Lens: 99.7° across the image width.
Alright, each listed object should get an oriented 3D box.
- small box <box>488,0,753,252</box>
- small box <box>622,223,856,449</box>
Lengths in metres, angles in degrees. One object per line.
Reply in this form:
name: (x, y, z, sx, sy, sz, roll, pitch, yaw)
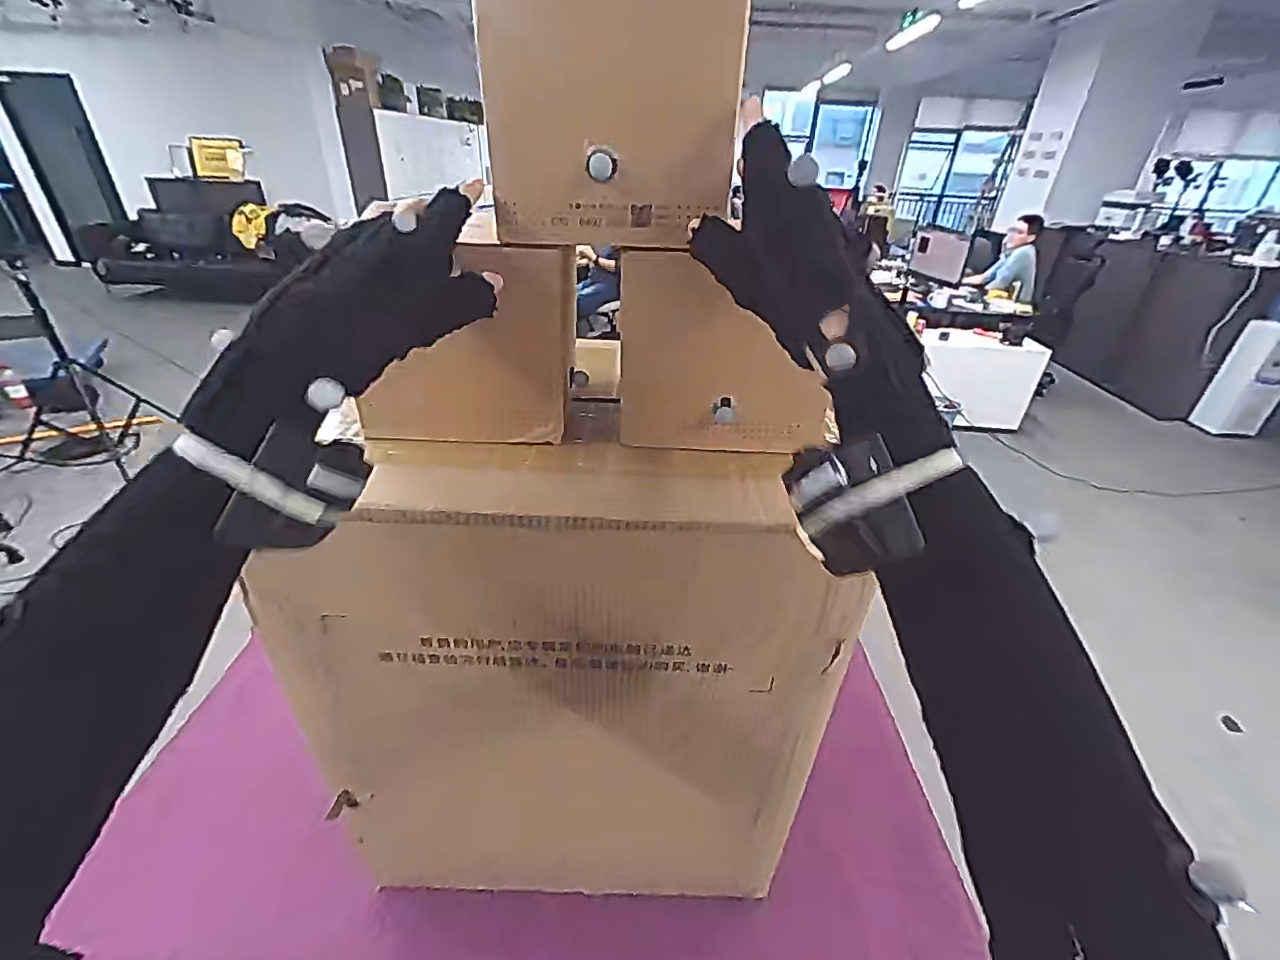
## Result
small box: (-0.015, -0.284, 0.424, 0.168, 0.176, 0.179, 1, 32, 0)
small box: (0.076, -0.138, 0.508, 0.179, 0.176, 0.168, 2, 31, 1)
